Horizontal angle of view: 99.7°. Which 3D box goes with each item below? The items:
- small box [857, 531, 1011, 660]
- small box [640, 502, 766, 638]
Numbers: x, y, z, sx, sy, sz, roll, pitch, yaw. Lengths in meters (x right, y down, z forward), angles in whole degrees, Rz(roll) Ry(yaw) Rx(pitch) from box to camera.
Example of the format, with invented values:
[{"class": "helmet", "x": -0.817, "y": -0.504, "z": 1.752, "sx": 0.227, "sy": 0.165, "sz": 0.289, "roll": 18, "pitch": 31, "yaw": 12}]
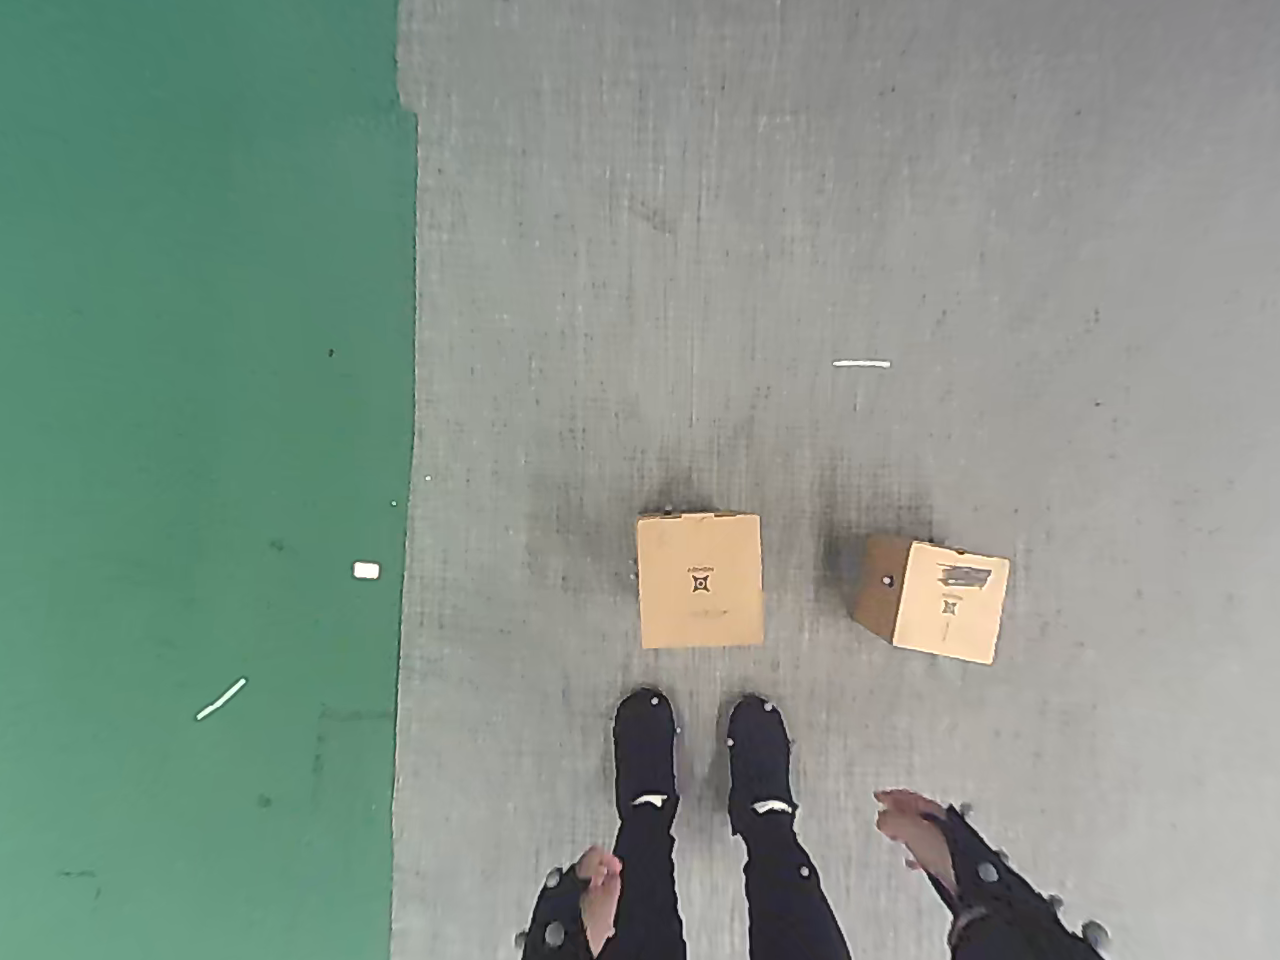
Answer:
[{"class": "small box", "x": 0.504, "y": 0.191, "z": 0.951, "sx": 0.168, "sy": 0.176, "sz": 0.179, "roll": 12, "pitch": 90, "yaw": 1}, {"class": "small box", "x": 0.084, "y": 0.122, "z": 0.795, "sx": 0.168, "sy": 0.176, "sz": 0.179, "roll": -2, "pitch": 89, "yaw": 1}]
